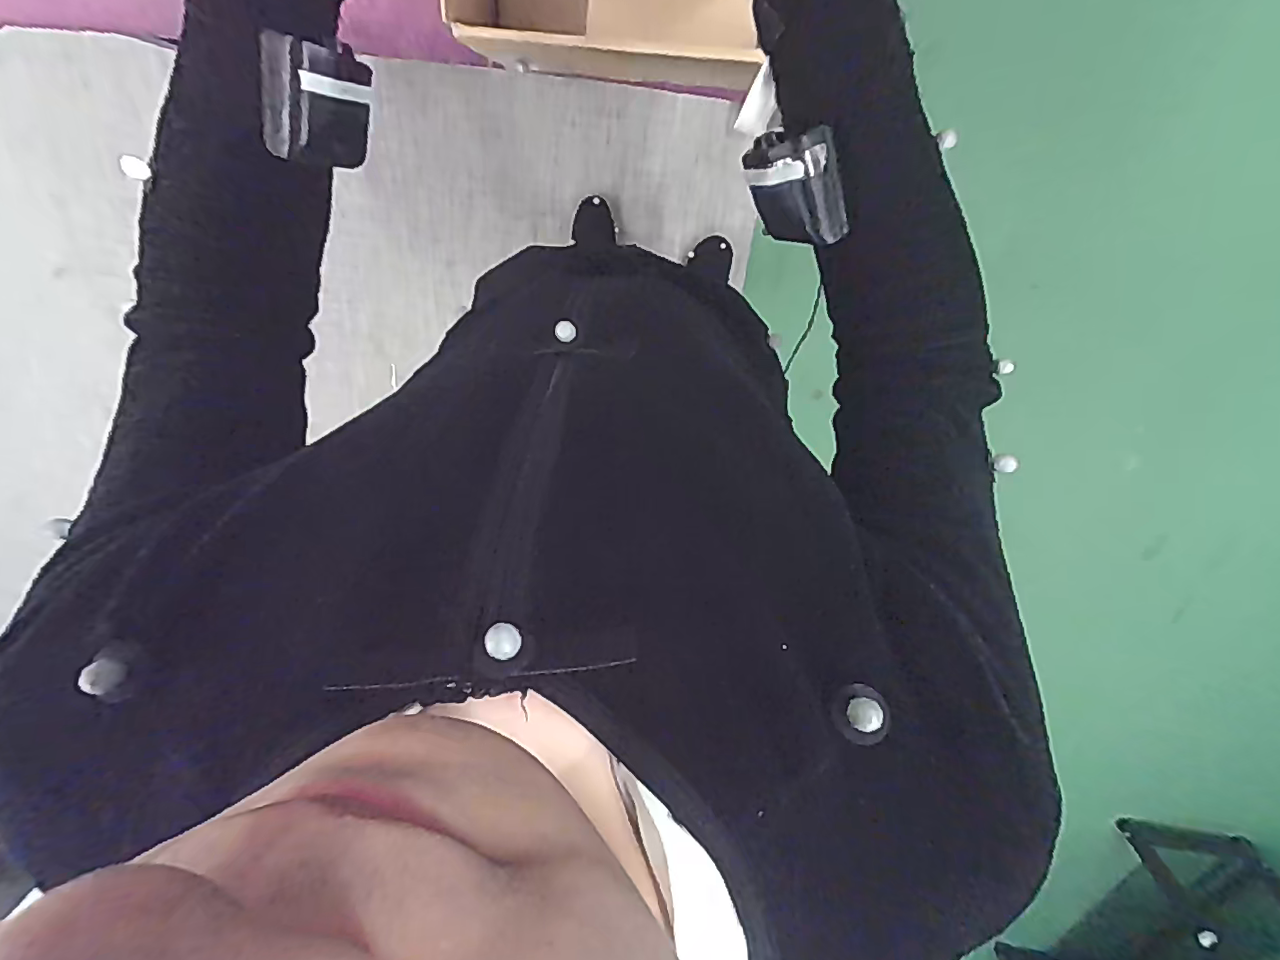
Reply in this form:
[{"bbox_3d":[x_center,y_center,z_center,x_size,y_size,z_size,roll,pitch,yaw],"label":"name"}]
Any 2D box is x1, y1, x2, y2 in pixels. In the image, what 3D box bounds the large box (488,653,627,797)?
[{"bbox_3d":[-0.298,0.932,2.070,0.408,0.320,0.320,-23,114,13],"label":"large box"}]
